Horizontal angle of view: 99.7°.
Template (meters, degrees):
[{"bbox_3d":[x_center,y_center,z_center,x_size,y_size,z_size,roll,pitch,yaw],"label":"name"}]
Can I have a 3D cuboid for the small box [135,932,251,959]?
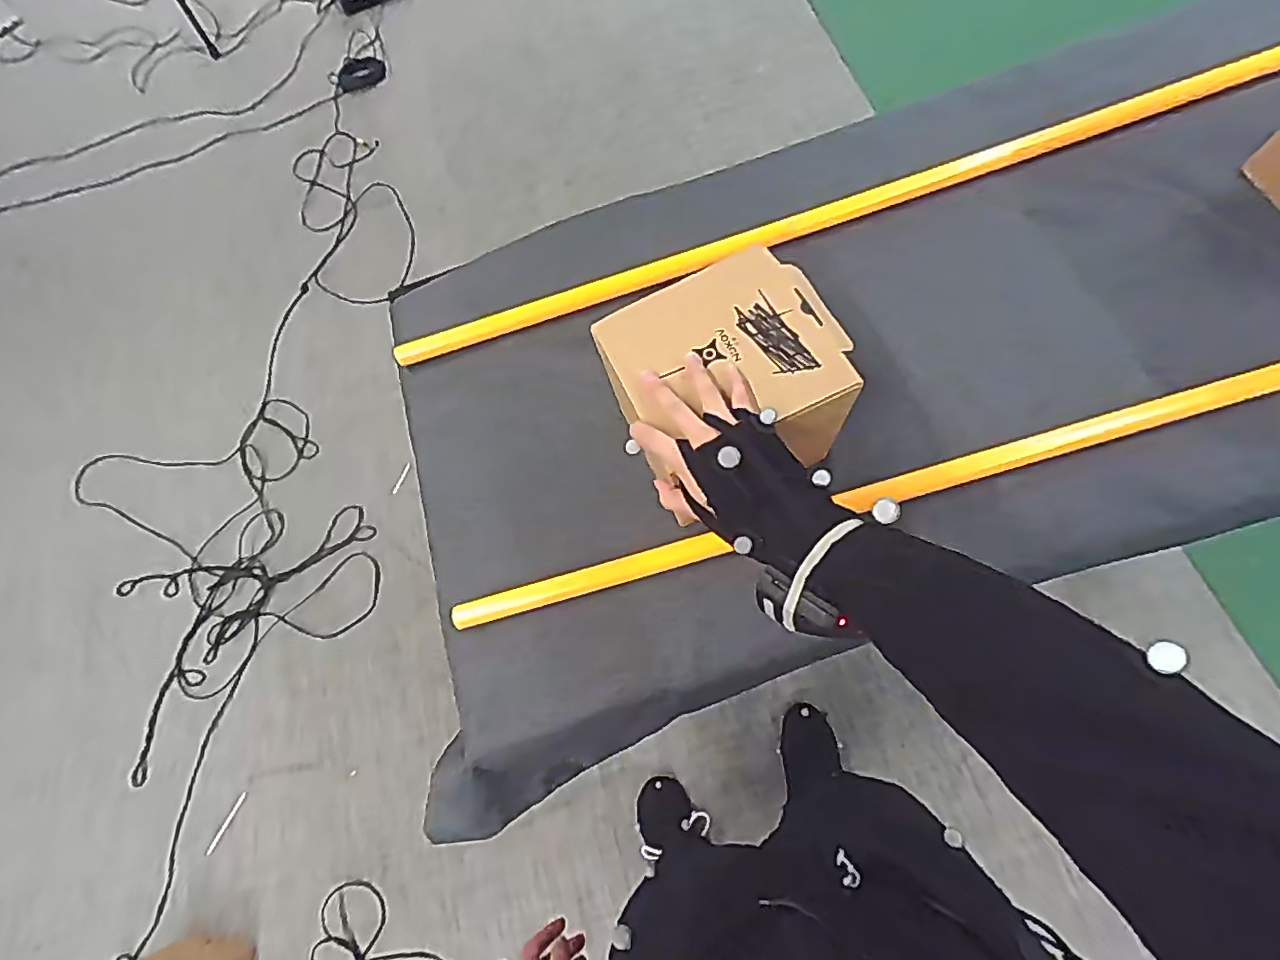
[{"bbox_3d":[-0.920,1.046,1.066,0.168,0.176,0.179,2,71,10],"label":"small box"}]

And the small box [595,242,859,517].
[{"bbox_3d":[0.078,-0.085,0.533,0.179,0.176,0.168,-26,69,-1],"label":"small box"}]
